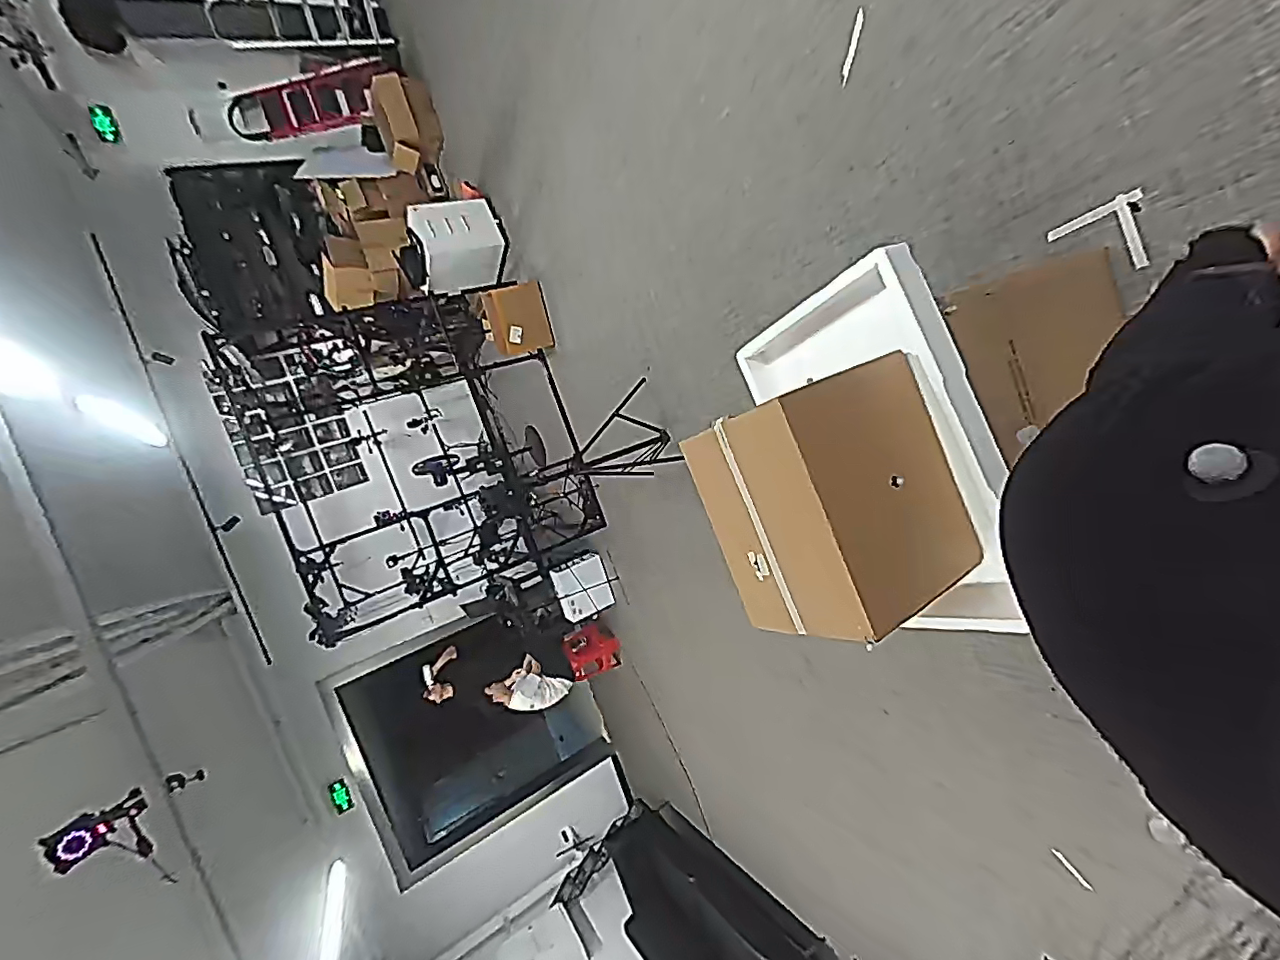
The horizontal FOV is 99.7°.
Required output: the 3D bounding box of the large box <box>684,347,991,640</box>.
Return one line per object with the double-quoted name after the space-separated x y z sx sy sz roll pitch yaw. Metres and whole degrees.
0.348 0.027 0.998 0.408 0.320 0.320 66 155 -1 "large box"
